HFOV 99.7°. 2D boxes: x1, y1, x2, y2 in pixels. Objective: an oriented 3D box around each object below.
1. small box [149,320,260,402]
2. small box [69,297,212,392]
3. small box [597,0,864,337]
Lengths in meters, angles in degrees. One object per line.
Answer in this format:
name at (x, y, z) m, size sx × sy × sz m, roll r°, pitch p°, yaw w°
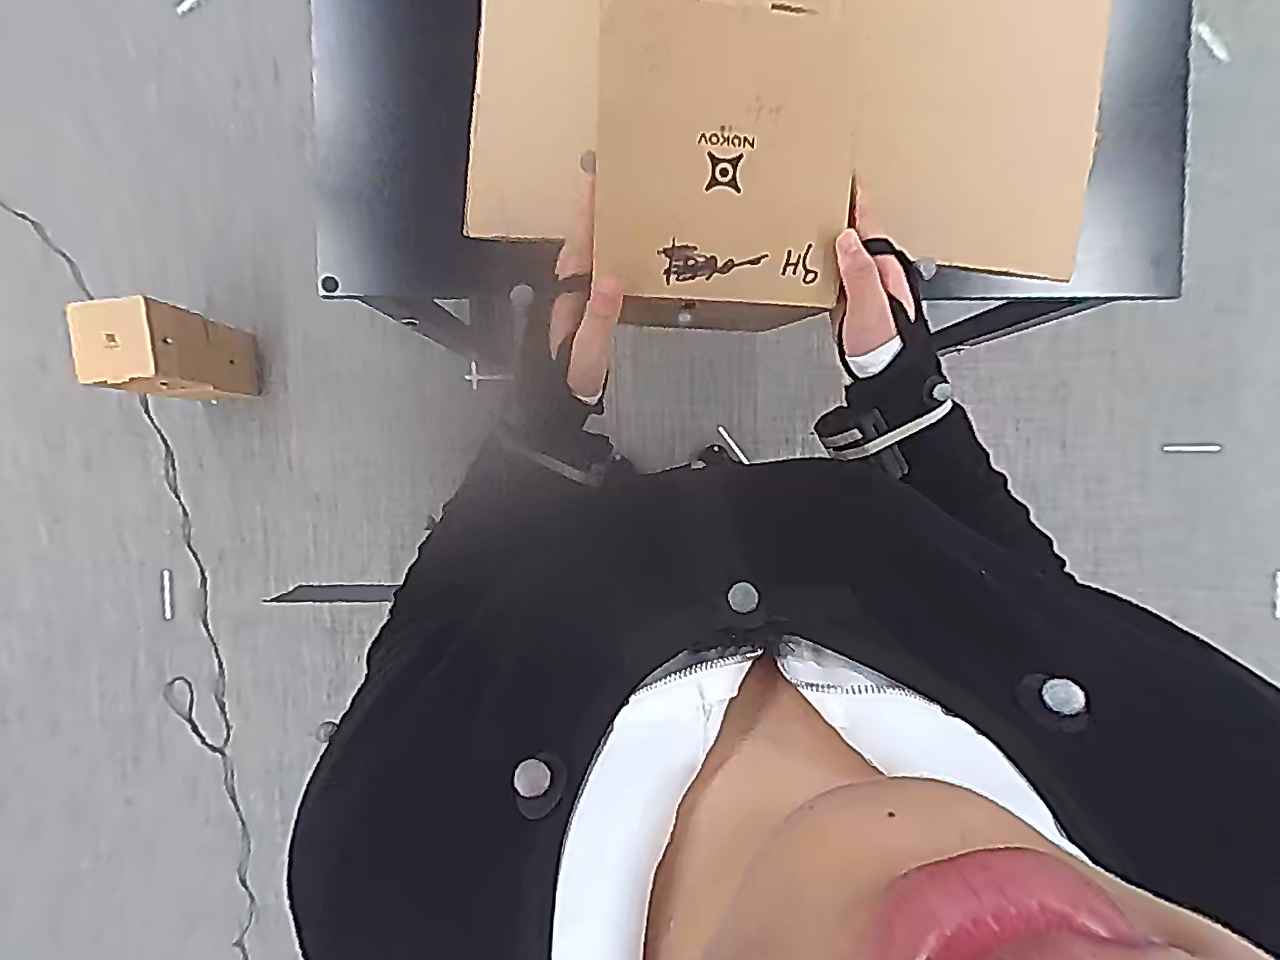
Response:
small box at (-1.121, -0.300, 1.393) m, size 0.168 × 0.176 × 0.179 m, roll -4°, pitch 93°, yaw 0°
small box at (-1.121, -0.298, 1.230) m, size 0.168 × 0.176 × 0.179 m, roll -7°, pitch 92°, yaw -1°
small box at (0.051, -0.215, 0.422) m, size 0.168 × 0.176 × 0.179 m, roll 1°, pitch 99°, yaw -3°
